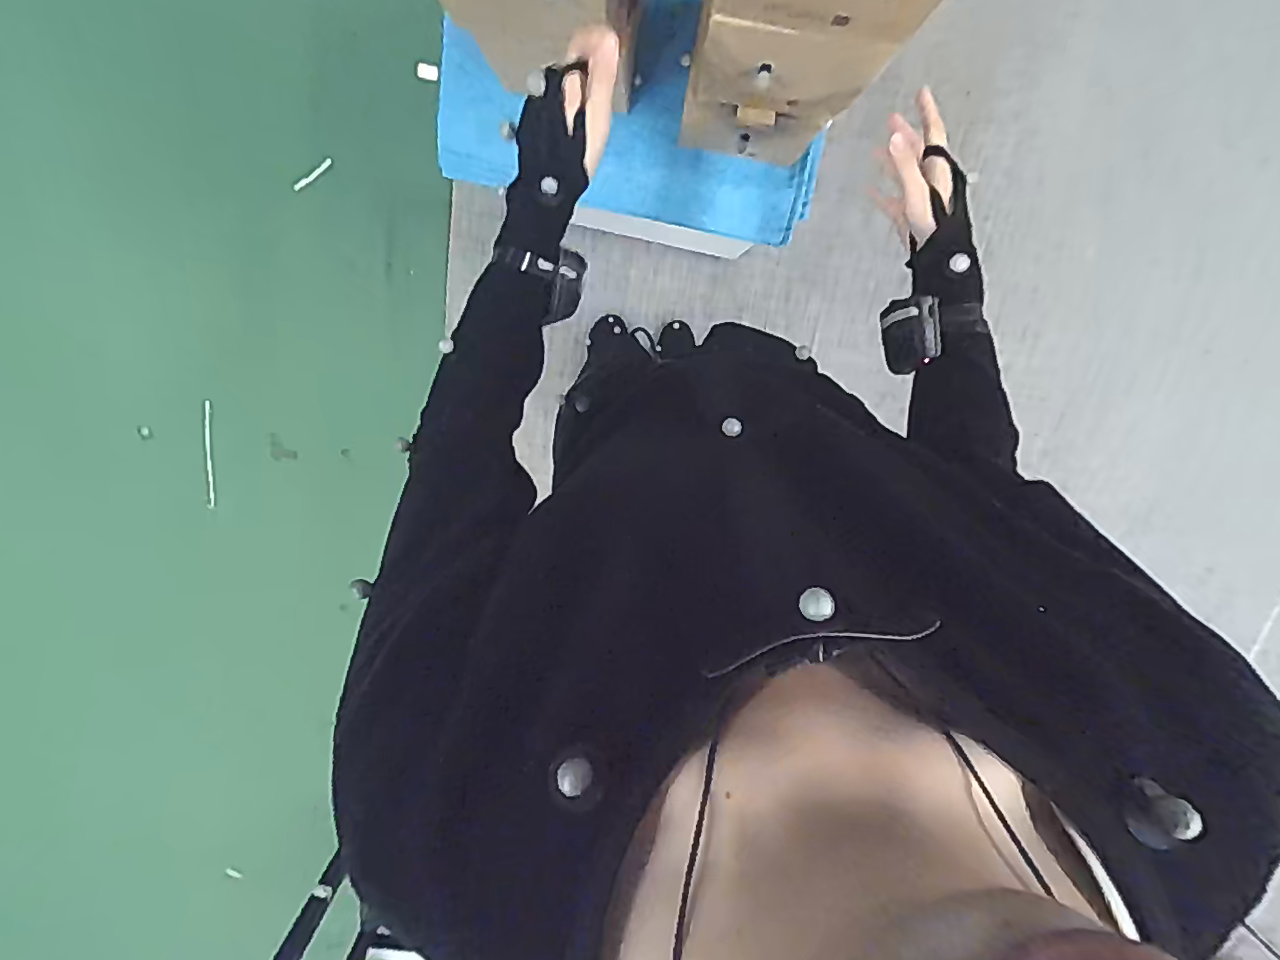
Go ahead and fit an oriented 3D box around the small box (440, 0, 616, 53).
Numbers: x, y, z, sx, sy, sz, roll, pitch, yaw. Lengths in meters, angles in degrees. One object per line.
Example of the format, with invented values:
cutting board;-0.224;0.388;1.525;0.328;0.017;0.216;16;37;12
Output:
small box;-0.102;-0.528;0.487;0.179;0.176;0.168;10;104;-2

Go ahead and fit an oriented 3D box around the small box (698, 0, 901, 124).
small box;0.151;-0.467;0.505;0.168;0.176;0.179;8;104;-2

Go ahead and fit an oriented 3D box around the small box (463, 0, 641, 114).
small box;-0.092;-0.570;0.646;0.179;0.176;0.168;10;104;-2

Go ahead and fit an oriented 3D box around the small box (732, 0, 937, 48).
small box;0.151;-0.427;0.346;0.168;0.176;0.179;10;103;-3

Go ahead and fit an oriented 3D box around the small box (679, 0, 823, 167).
small box;0.144;-0.509;0.661;0.168;0.176;0.179;10;105;-3
